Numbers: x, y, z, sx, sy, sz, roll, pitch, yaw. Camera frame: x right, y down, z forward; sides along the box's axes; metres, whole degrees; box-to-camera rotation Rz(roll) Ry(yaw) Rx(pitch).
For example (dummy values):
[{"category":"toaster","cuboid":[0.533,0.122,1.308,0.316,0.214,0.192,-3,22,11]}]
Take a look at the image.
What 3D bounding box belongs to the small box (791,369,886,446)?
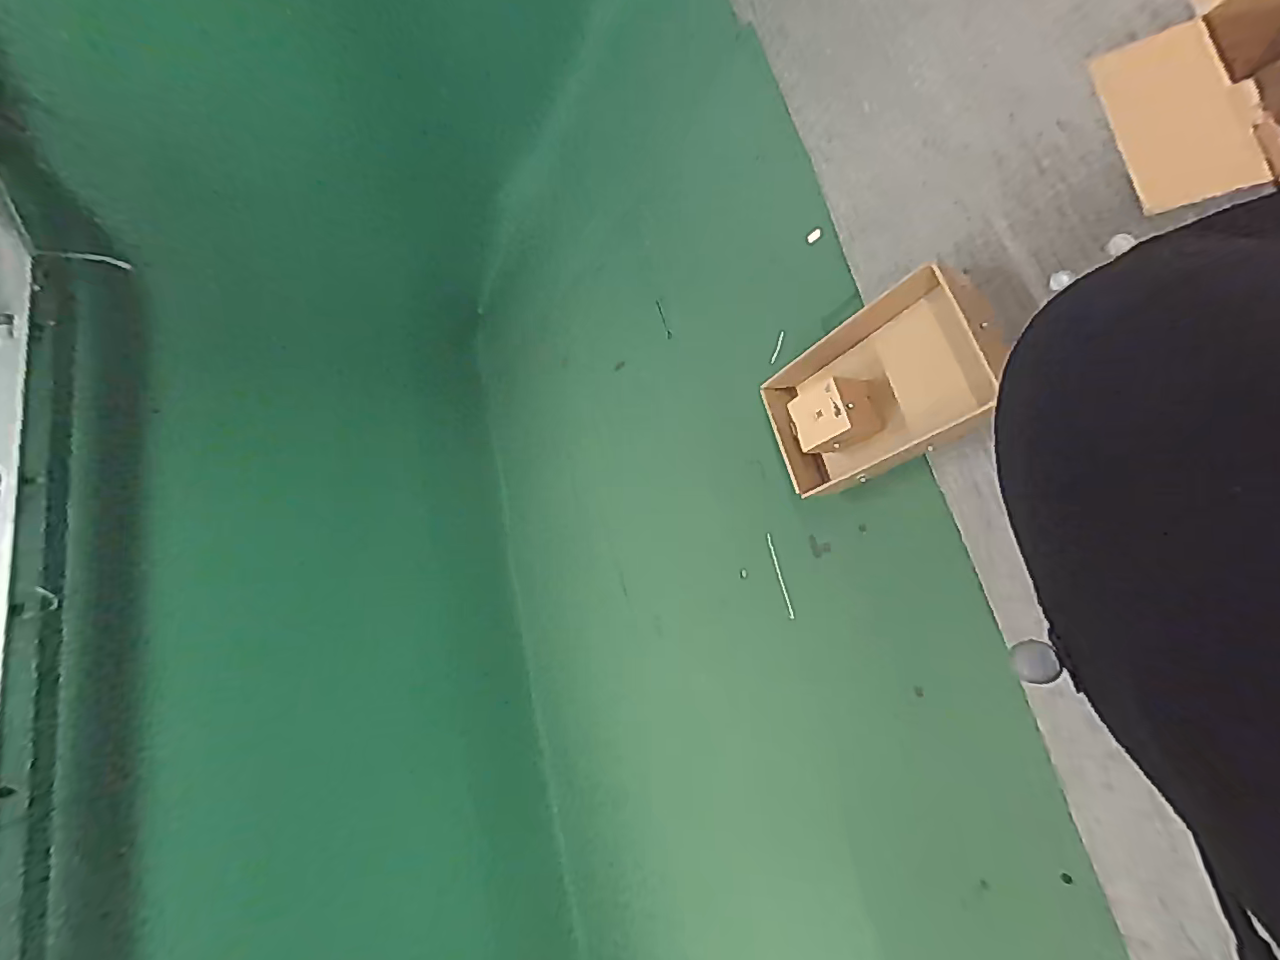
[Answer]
[{"category":"small box","cuboid":[0.588,-0.207,1.601,0.179,0.176,0.168,-35,63,50]}]
